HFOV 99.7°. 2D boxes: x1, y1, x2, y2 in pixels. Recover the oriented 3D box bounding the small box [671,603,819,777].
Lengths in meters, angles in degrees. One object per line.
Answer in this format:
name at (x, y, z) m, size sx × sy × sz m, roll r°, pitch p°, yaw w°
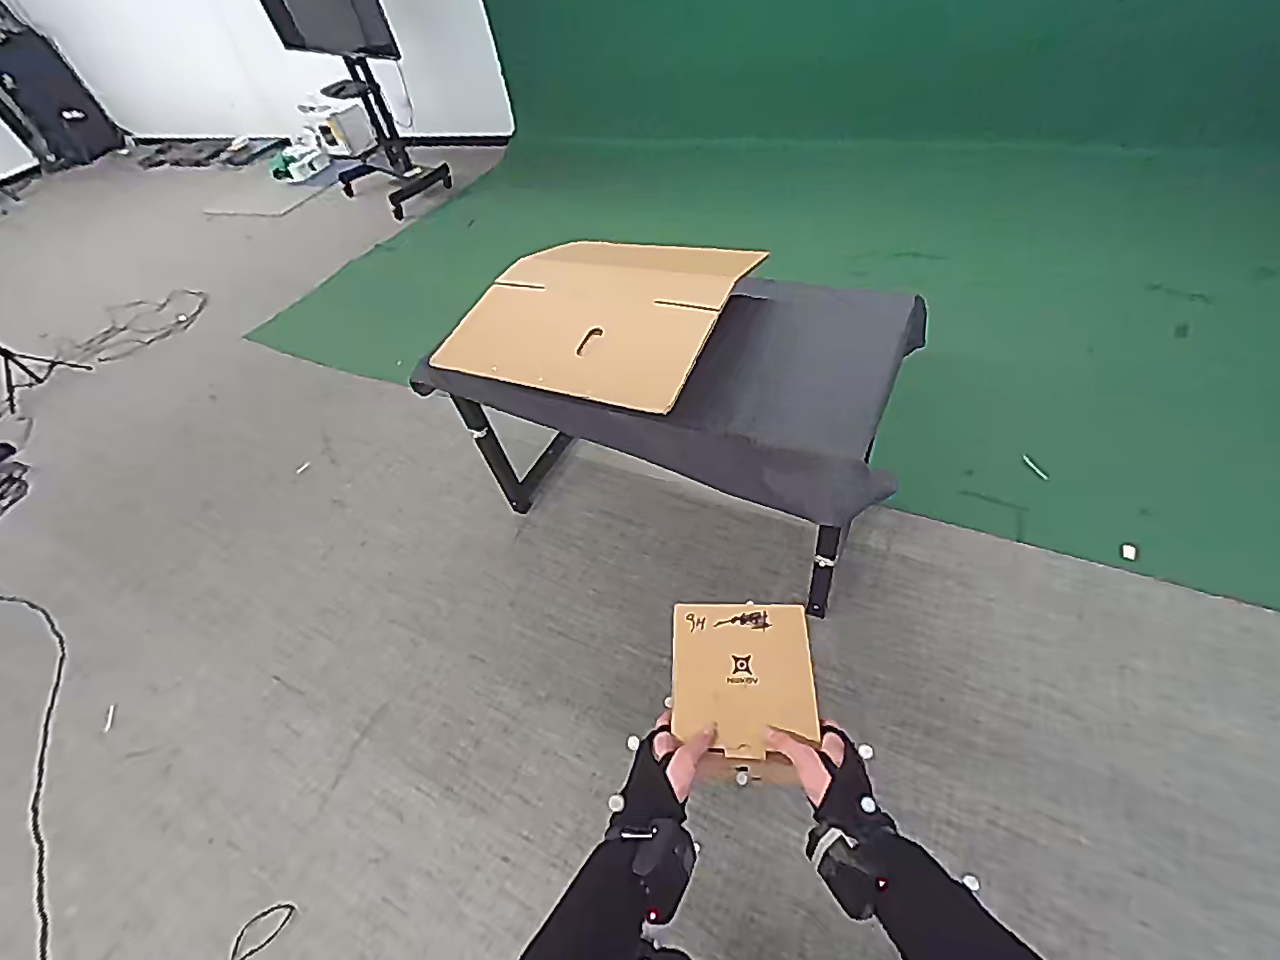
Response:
small box at (0.129, 0.279, 0.708) m, size 0.168 × 0.176 × 0.179 m, roll -3°, pitch 51°, yaw 6°
